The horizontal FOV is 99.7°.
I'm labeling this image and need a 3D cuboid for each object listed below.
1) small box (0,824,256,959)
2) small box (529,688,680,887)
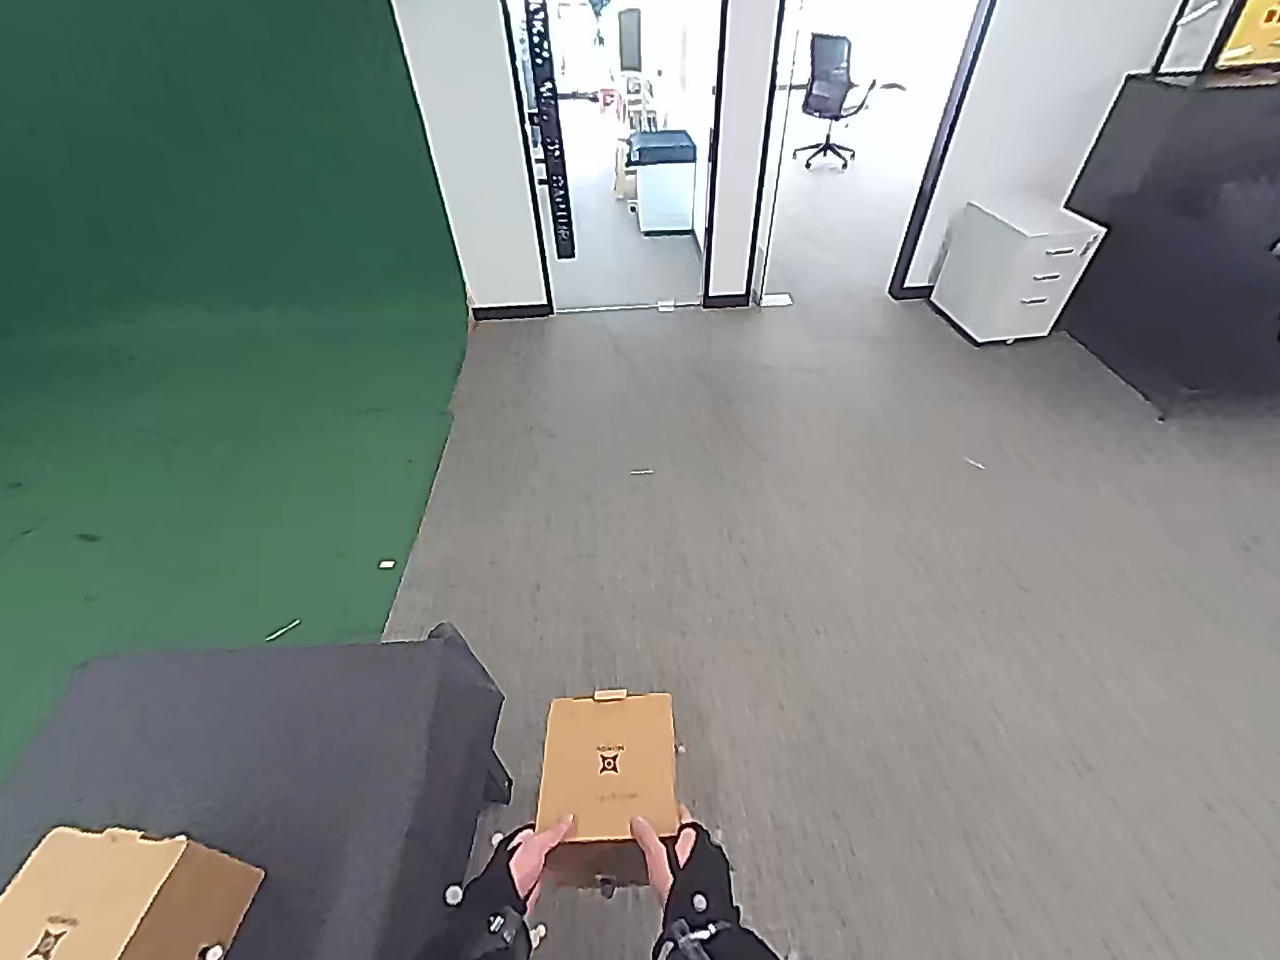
[{"bbox_3d":[-0.580,0.517,0.607,0.168,0.176,0.179,3,44,5],"label":"small box"},{"bbox_3d":[-0.034,0.396,0.704,0.168,0.176,0.179,-3,38,4],"label":"small box"}]
